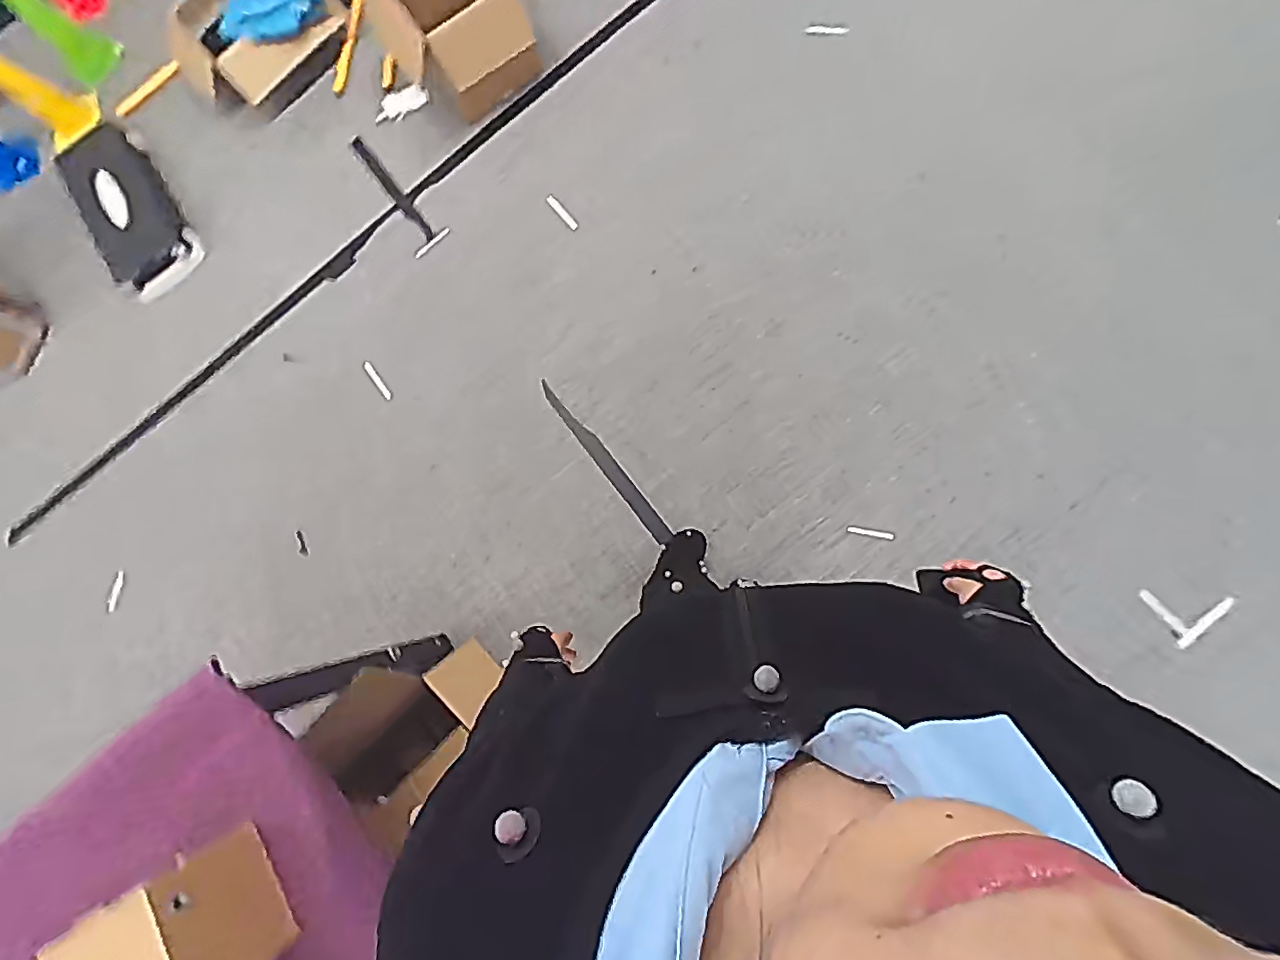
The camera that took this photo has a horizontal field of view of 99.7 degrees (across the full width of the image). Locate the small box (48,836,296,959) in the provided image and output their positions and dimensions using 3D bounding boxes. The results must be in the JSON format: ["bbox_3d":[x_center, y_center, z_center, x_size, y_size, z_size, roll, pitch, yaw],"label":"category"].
[{"bbox_3d":[-0.607,0.628,0.717,0.168,0.176,0.179,-35,78,1],"label":"small box"}]
